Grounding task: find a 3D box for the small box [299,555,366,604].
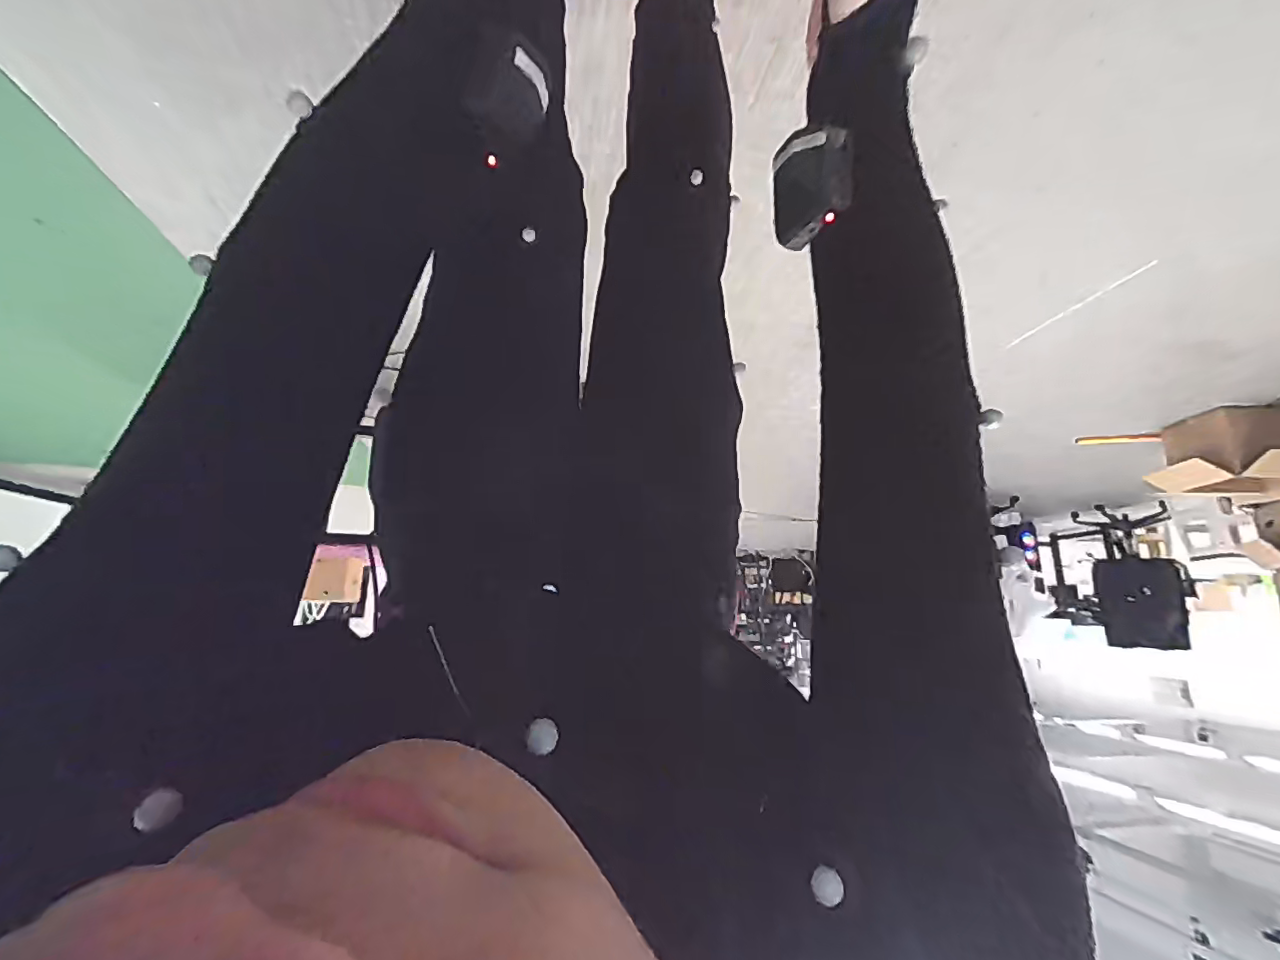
[{"bbox_3d":[-1.157,0.378,2.048,0.168,0.176,0.179,3,167,-9],"label":"small box"}]
